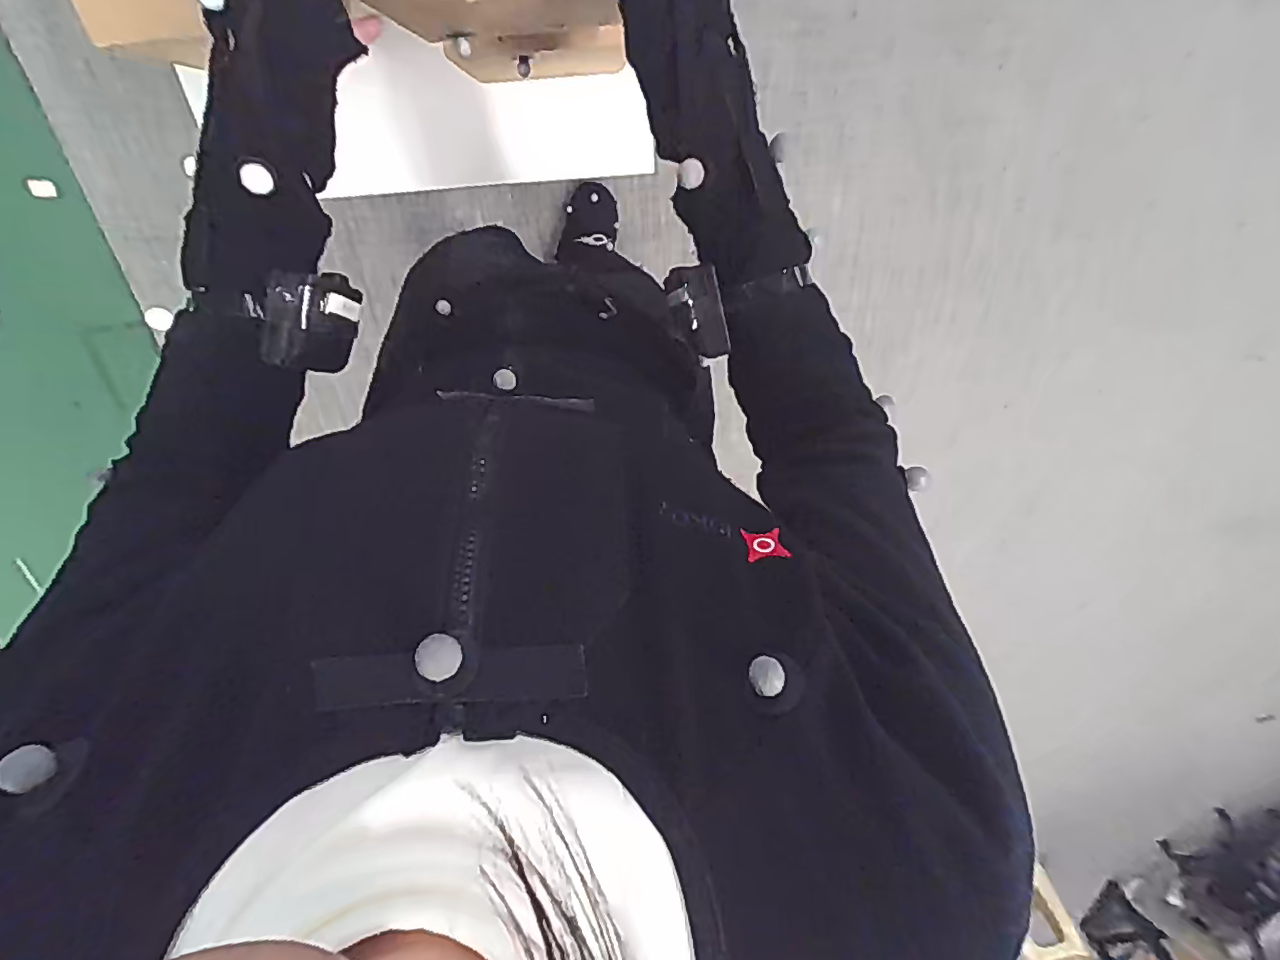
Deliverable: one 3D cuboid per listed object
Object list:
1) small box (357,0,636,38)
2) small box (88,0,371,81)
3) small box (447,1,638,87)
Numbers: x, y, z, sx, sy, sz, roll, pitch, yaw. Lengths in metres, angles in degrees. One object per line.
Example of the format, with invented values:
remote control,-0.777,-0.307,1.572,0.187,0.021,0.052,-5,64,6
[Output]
small box,-0.088,-0.384,0.315,0.168,0.176,0.179,-6,121,1
small box,-0.371,-0.477,0.478,0.168,0.176,0.179,-7,122,0
small box,-0.094,-0.484,0.496,0.168,0.176,0.179,-6,120,0
